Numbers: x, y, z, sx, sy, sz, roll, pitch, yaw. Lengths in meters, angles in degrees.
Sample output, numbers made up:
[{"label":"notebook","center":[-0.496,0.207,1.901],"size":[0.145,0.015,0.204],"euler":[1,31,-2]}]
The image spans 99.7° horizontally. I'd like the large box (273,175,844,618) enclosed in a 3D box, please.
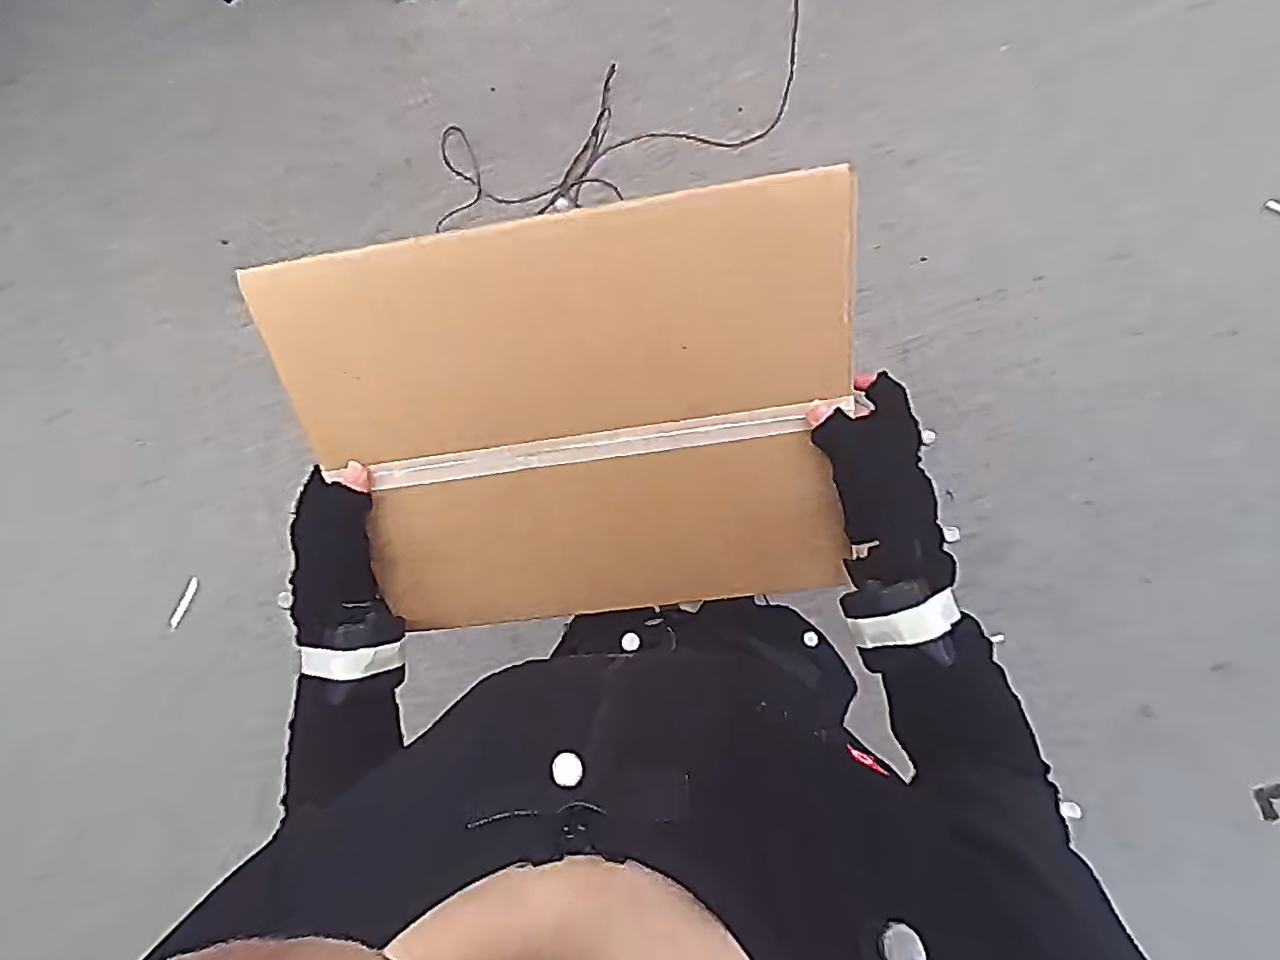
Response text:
[{"label":"large box","center":[-0.037,-0.098,0.559],"size":[0.408,0.320,0.320],"euler":[-8,115,5]}]
